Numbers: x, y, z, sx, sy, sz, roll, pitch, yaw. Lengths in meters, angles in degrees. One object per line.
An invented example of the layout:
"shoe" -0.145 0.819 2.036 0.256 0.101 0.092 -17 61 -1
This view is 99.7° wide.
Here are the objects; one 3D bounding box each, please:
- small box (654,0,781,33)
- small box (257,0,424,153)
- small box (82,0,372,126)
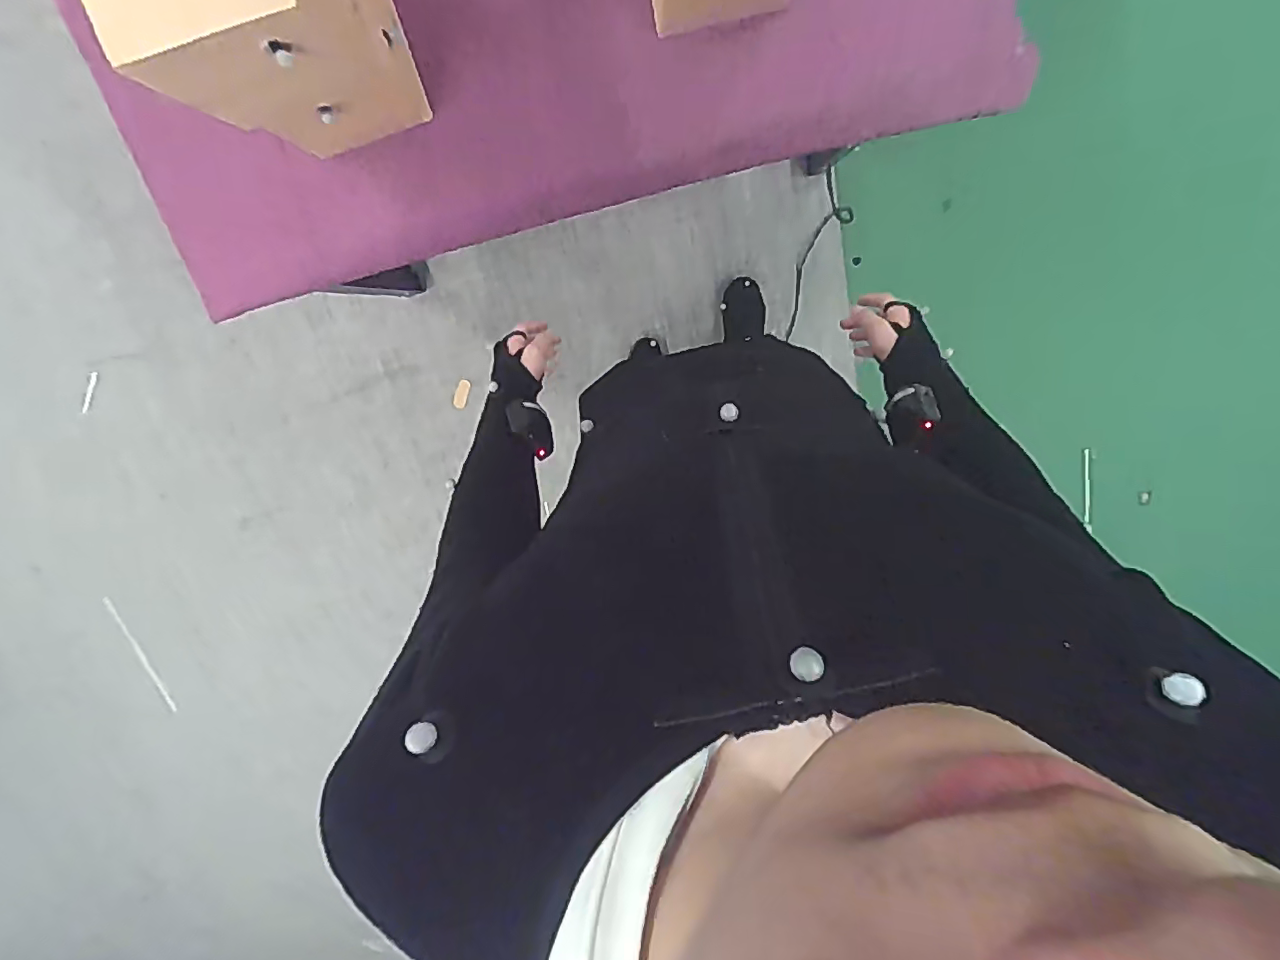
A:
"small box" 0.092 -0.656 0.615 0.179 0.176 0.168 -11 107 4
"small box" -0.388 -0.529 0.658 0.179 0.176 0.168 -16 107 5
"small box" -0.382 -0.467 0.504 0.179 0.176 0.168 -14 107 5
